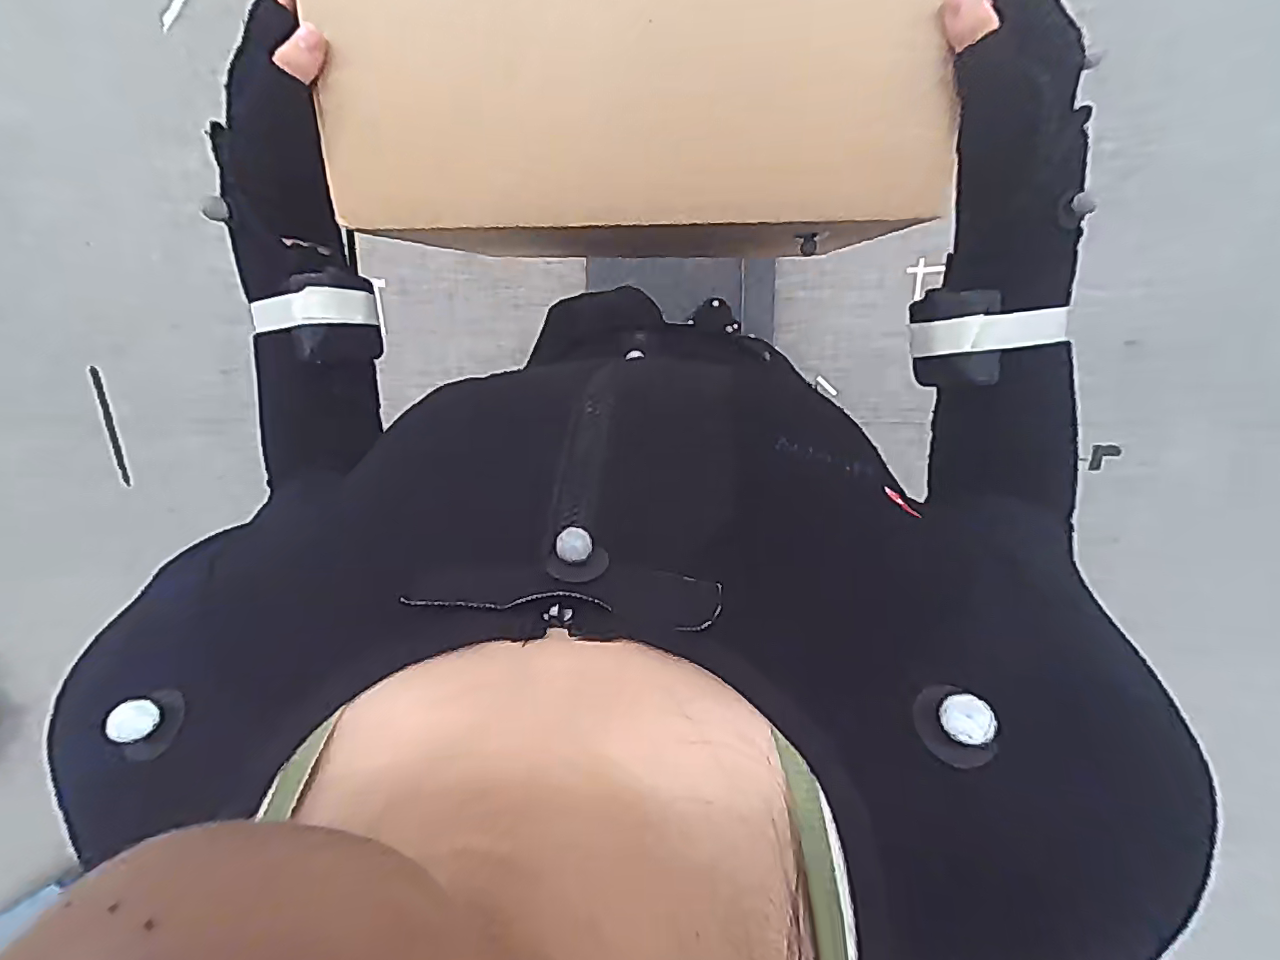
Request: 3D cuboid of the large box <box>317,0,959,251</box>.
[{"bbox_3d":[0.006,-0.374,0.462,0.408,0.320,0.320,1,109,5],"label":"large box"}]
